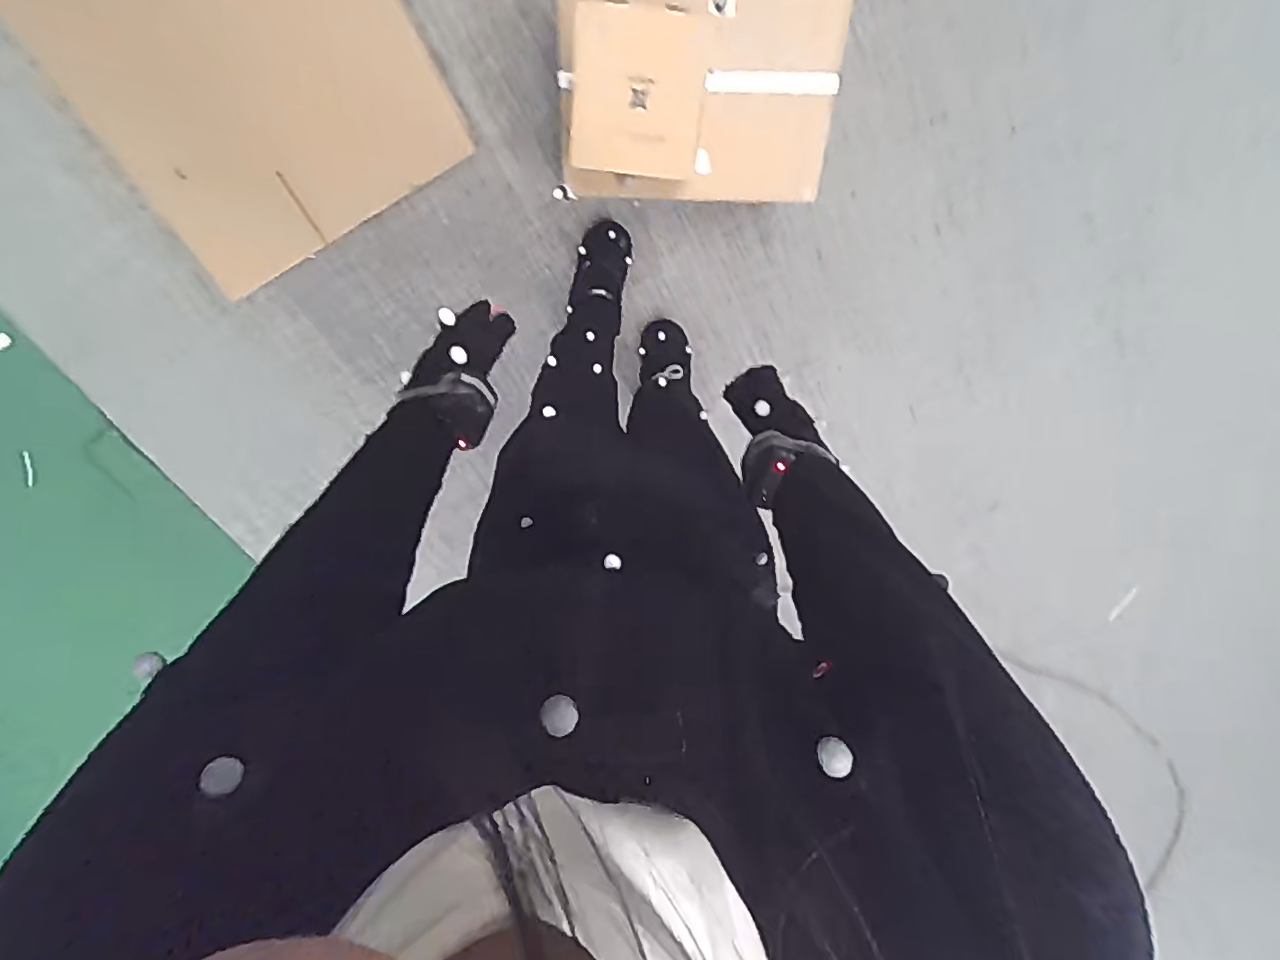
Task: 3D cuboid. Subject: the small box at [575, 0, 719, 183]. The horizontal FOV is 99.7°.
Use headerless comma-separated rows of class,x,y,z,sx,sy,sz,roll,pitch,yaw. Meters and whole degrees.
small box,0.008,-0.519,0.743,0.168,0.176,0.179,7,121,0
